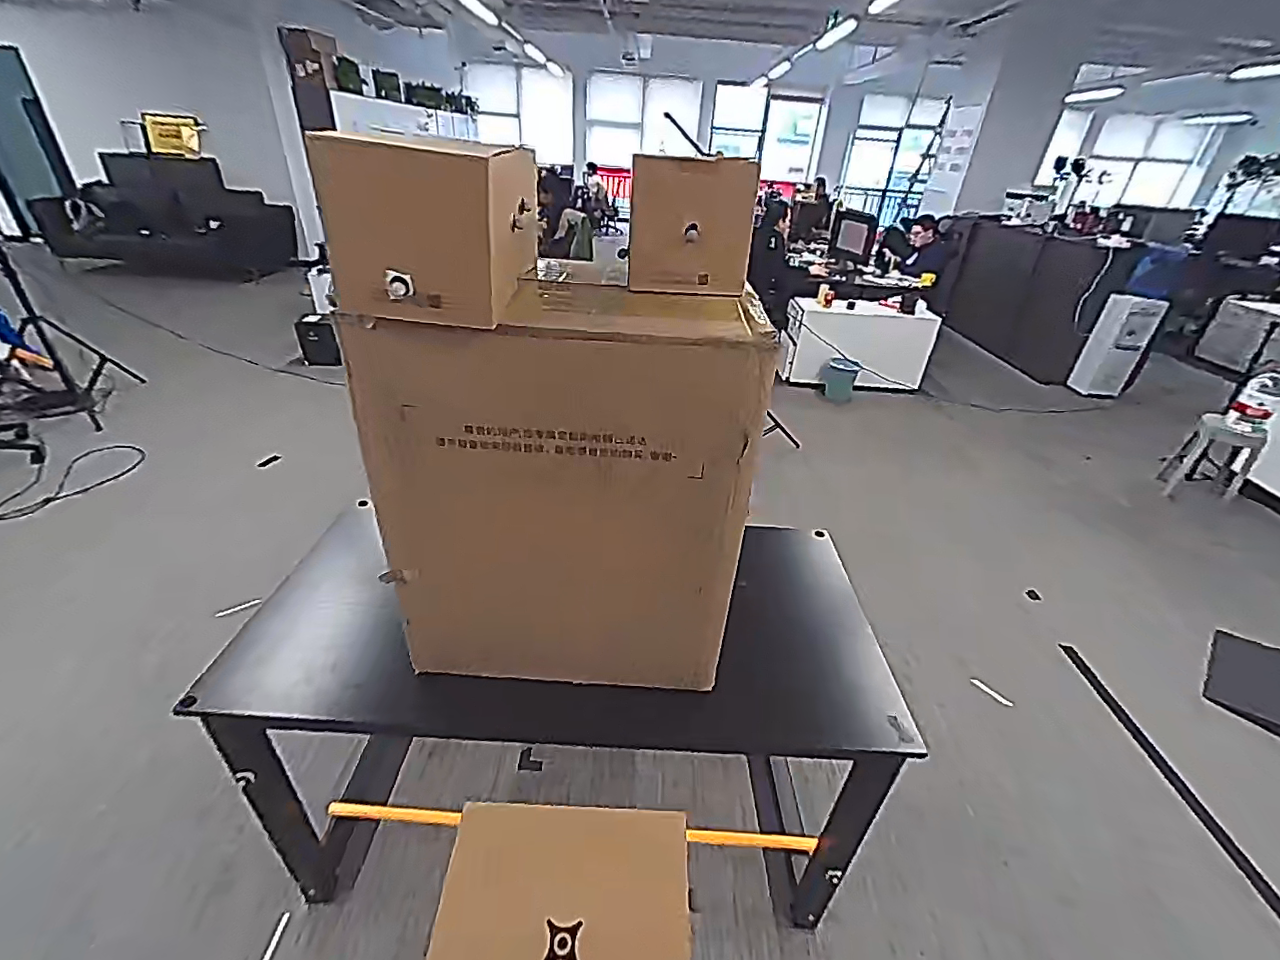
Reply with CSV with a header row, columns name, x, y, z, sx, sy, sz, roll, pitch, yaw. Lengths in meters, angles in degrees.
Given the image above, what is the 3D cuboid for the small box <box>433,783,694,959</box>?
name,x,y,z,sx,sy,sz,roll,pitch,yaw
small box,-0.050,0.353,0.400,0.168,0.176,0.179,2,41,0

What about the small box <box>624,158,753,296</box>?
name,x,y,z,sx,sy,sz,roll,pitch,yaw
small box,0.061,-0.372,0.792,0.168,0.176,0.179,1,31,-2
